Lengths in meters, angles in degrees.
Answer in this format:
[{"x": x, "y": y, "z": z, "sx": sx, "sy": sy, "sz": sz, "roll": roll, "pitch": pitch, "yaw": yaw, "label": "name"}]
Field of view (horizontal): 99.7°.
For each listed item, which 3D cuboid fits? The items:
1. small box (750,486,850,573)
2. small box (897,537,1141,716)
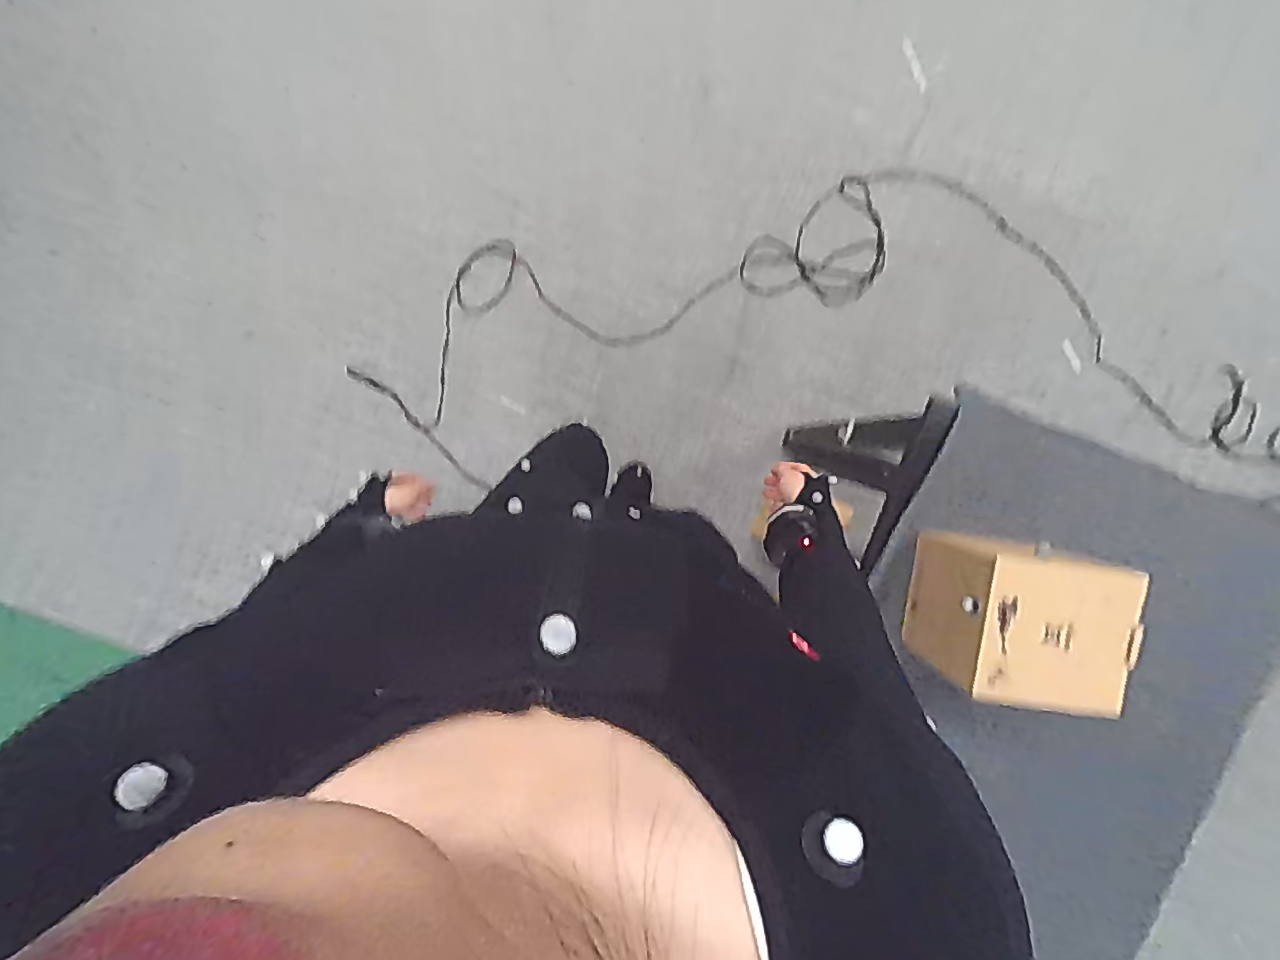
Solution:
[{"x": 0.409, "y": 0.123, "z": 1.418, "sx": 0.179, "sy": 0.176, "sz": 0.168, "roll": 24, "pitch": 92, "yaw": -3, "label": "small box"}, {"x": 0.465, "y": 0.174, "z": 0.690, "sx": 0.179, "sy": 0.176, "sz": 0.168, "roll": 8, "pitch": 93, "yaw": -2, "label": "small box"}]
